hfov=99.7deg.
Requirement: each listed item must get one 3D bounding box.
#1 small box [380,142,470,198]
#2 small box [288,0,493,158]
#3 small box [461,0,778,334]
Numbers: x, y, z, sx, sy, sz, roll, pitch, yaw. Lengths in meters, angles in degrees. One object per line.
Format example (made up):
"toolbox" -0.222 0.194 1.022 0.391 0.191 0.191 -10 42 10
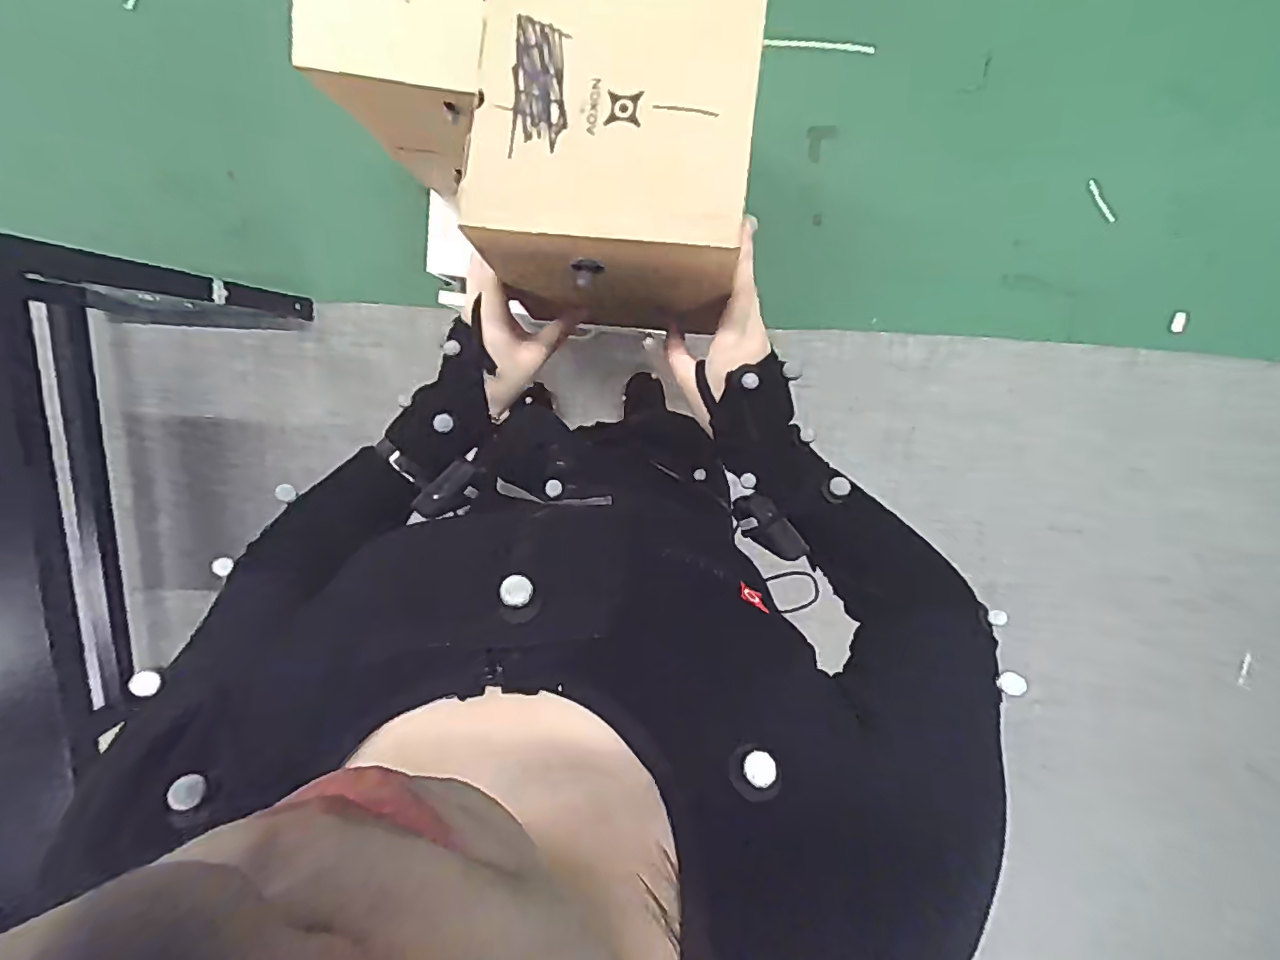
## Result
"small box" -0.213 -0.476 0.706 0.179 0.176 0.168 6 101 0
"small box" -0.215 -0.447 0.545 0.179 0.176 0.168 7 100 -2
"small box" -0.006 -0.218 0.401 0.179 0.176 0.168 7 88 5
